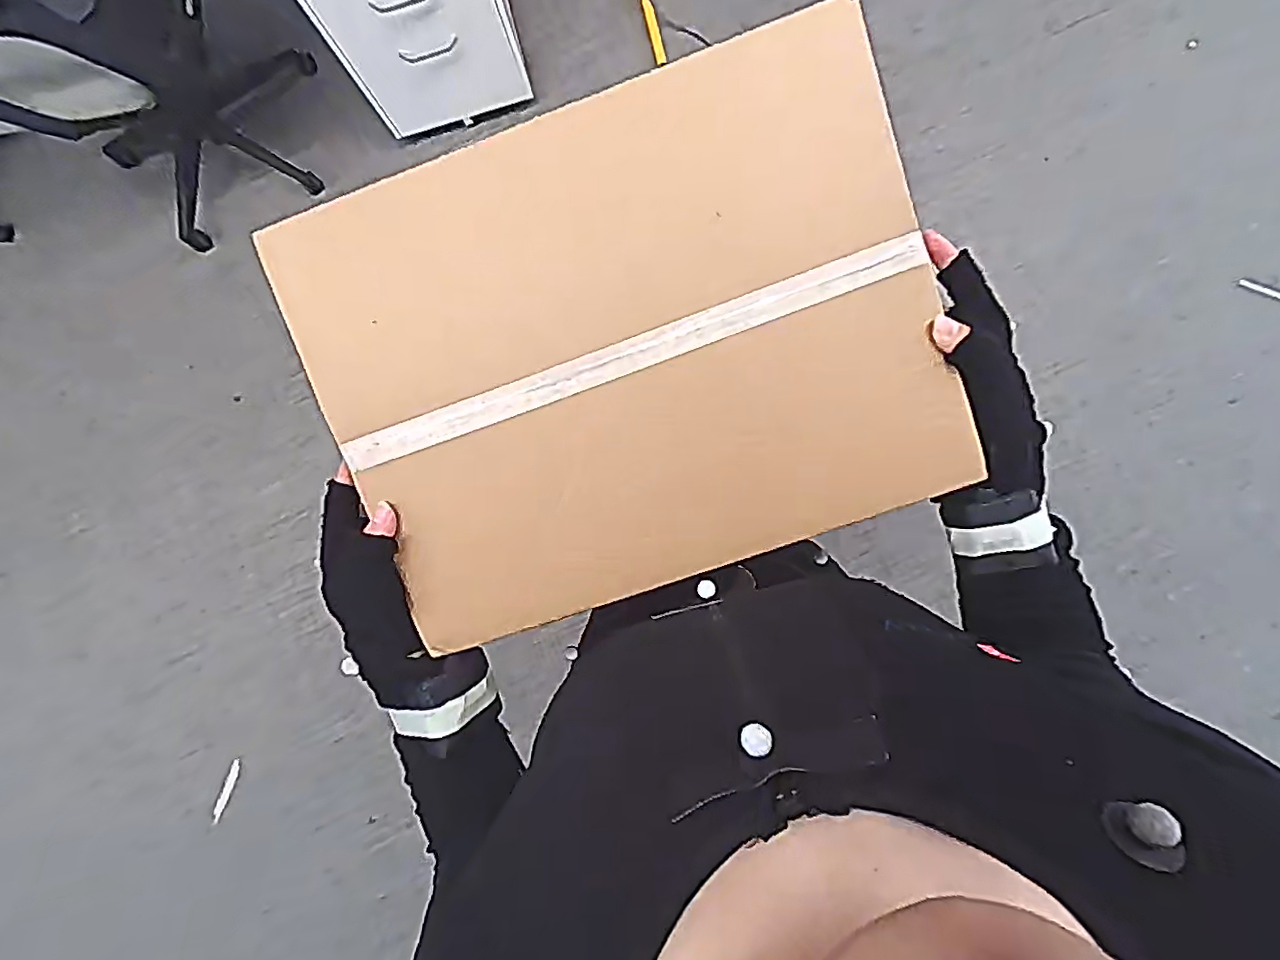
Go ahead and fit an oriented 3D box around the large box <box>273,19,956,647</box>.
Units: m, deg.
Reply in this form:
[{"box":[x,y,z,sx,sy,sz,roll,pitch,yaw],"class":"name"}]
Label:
[{"box":[-0.009,-0.104,0.517,0.408,0.320,0.320,-19,96,5],"class":"large box"}]
